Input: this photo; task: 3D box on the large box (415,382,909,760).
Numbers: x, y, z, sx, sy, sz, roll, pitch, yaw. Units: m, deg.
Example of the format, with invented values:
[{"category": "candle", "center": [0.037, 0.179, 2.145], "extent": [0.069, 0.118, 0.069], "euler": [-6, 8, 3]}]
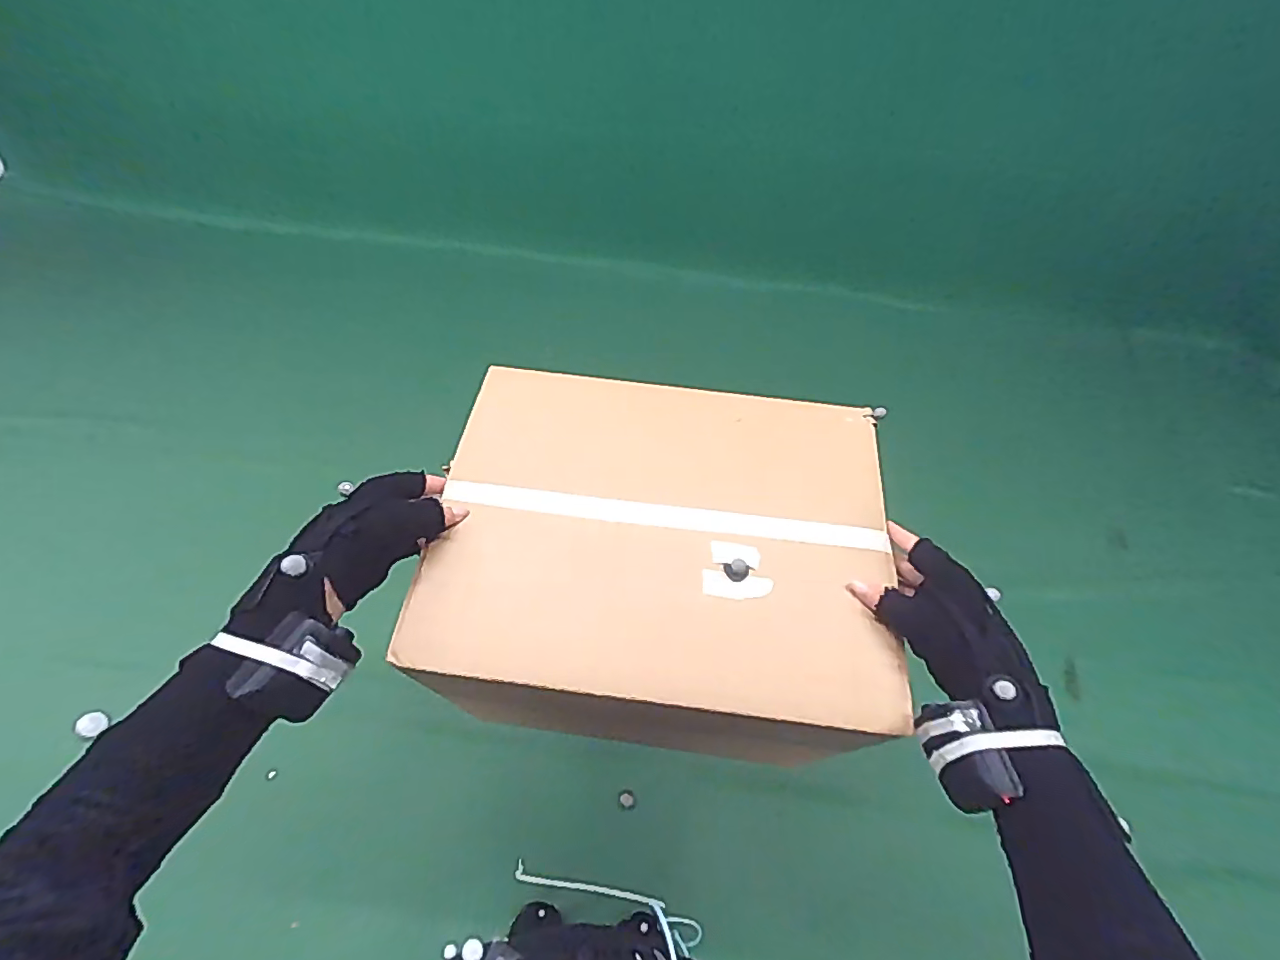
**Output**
[{"category": "large box", "center": [0.023, 0.120, 0.630], "extent": [0.408, 0.320, 0.320], "euler": [7, 59, 2]}]
